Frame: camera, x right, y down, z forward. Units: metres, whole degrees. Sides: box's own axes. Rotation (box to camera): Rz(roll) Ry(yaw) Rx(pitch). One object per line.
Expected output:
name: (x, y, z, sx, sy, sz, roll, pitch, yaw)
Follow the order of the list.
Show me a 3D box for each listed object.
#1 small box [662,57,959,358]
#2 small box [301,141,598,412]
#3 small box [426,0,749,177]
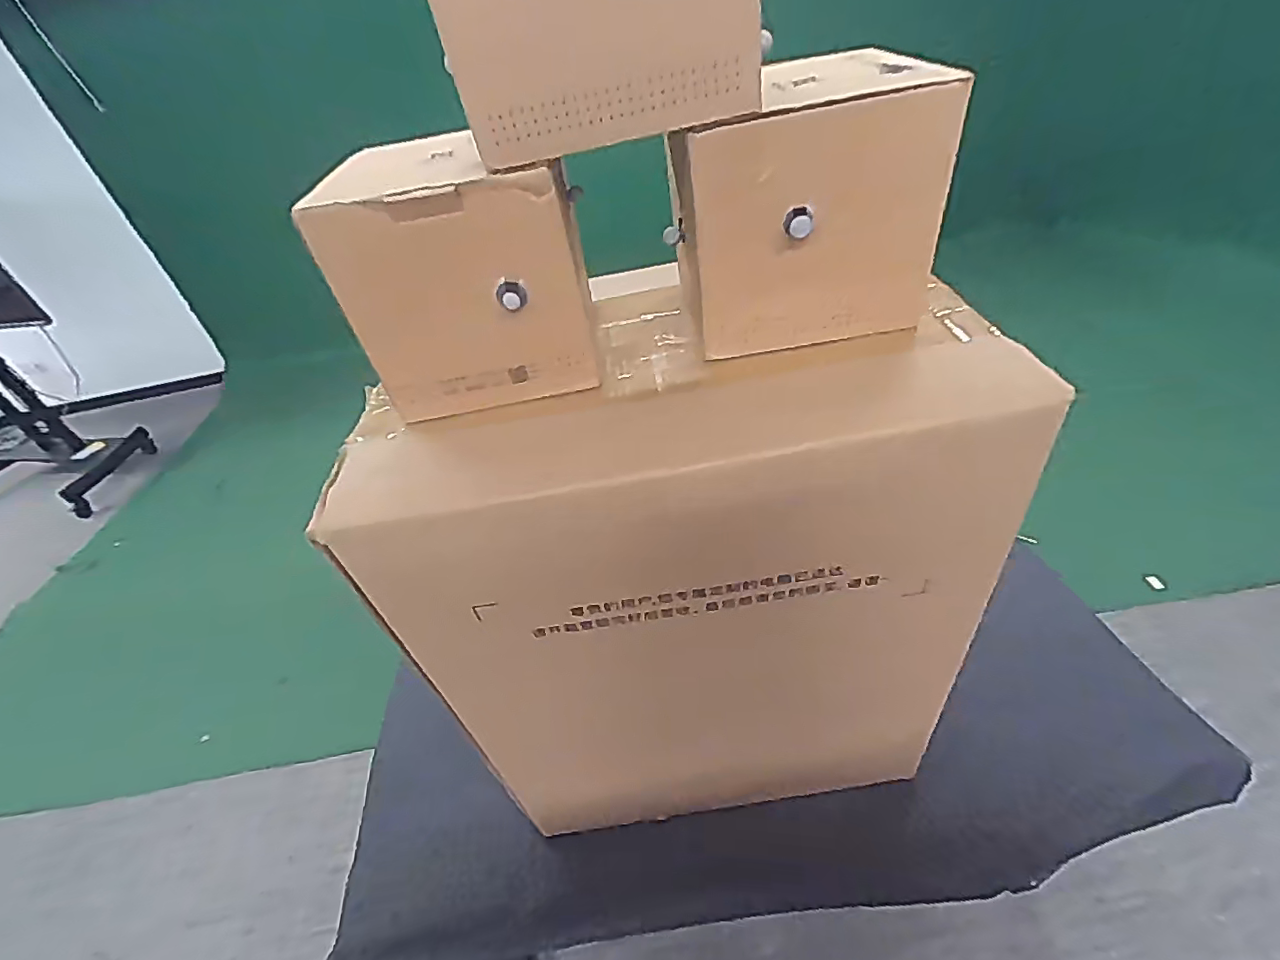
small box: (0.120, -0.219, 0.444, 0.179, 0.176, 0.168, -10, 43, 3)
small box: (-0.132, -0.170, 0.453, 0.168, 0.176, 0.179, -10, 41, 0)
small box: (-0.034, -0.313, 0.338, 0.179, 0.176, 0.168, -12, 42, 3)
